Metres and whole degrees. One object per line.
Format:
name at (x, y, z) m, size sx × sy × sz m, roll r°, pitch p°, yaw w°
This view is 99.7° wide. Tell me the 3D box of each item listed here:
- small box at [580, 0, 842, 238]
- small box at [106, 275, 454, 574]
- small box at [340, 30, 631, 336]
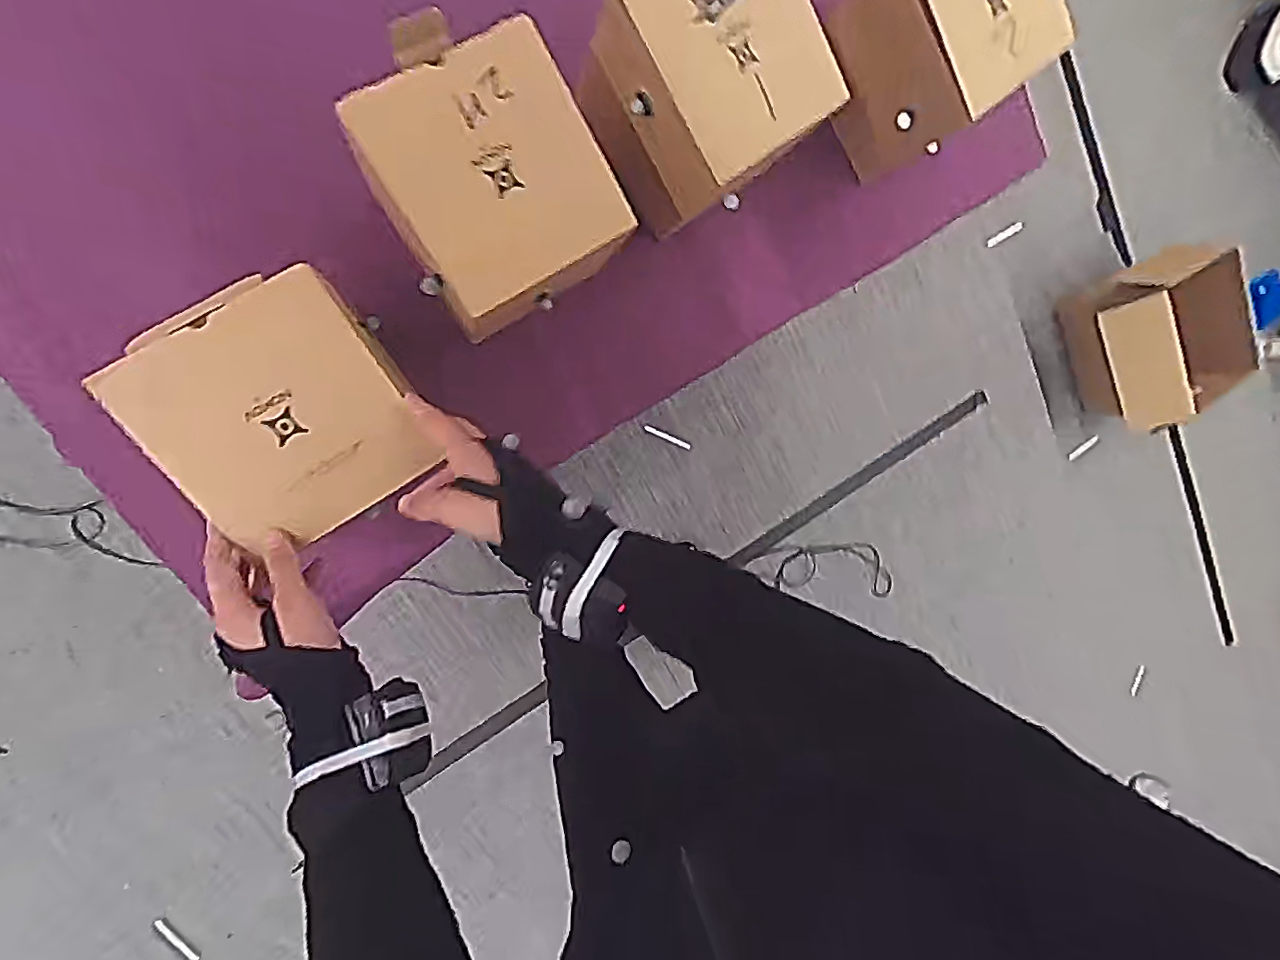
small box at (0.059, -0.386, 0.554) m, size 0.168 × 0.176 × 0.179 m, roll -38°, pitch 106°, yaw -10°
small box at (-0.287, -0.049, 0.485) m, size 0.168 × 0.176 × 0.179 m, roll -34°, pitch 105°, yaw -10°
small box at (-0.136, -0.251, 0.509) m, size 0.168 × 0.176 × 0.179 m, roll -34°, pitch 105°, yaw -11°
